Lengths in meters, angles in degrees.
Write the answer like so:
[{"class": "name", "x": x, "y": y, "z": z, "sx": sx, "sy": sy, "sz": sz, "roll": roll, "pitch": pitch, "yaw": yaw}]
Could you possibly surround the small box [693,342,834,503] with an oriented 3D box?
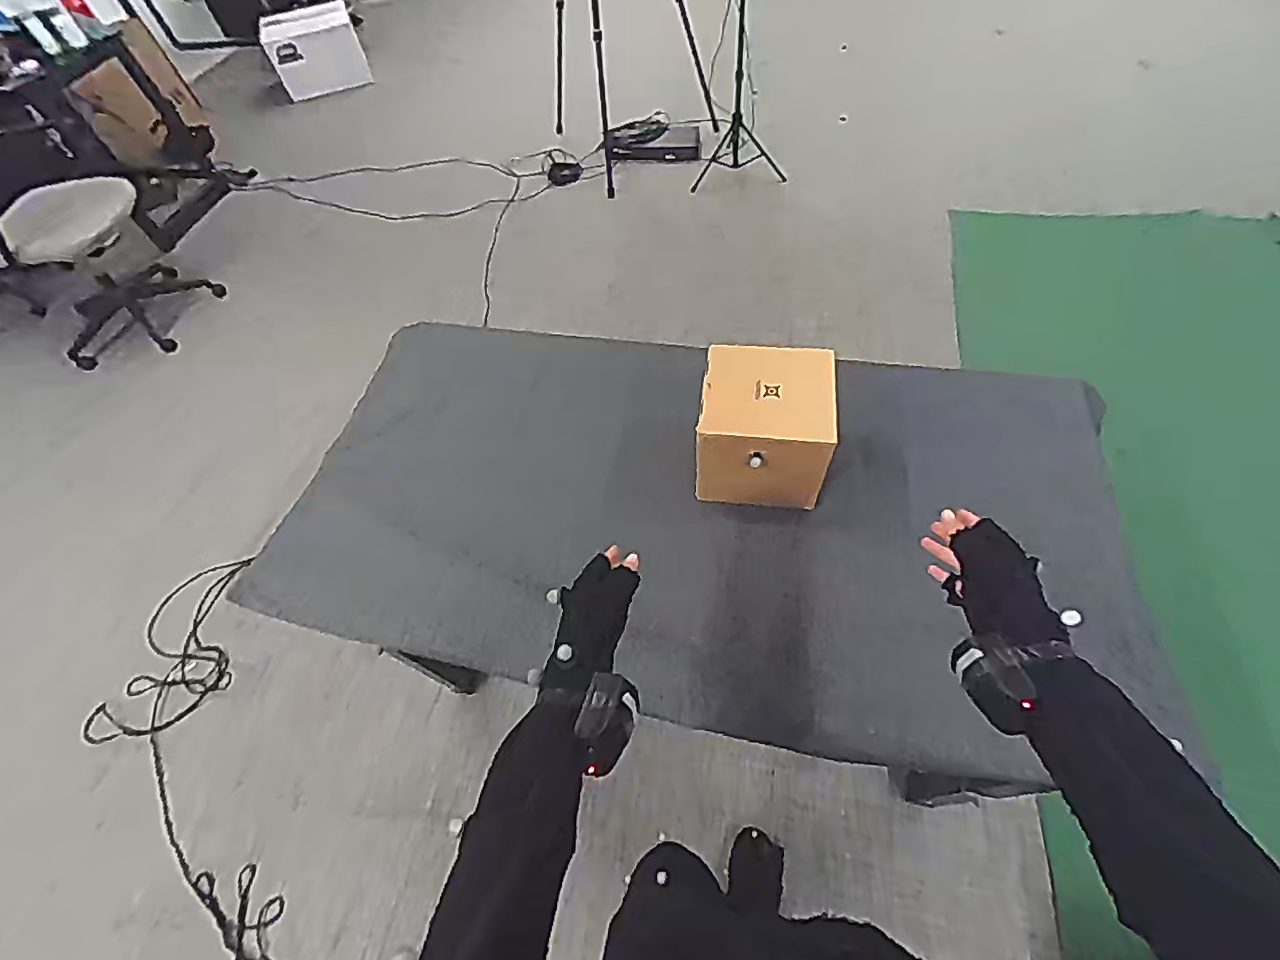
[{"class": "small box", "x": 0.175, "y": -0.079, "z": 0.786, "sx": 0.179, "sy": 0.176, "sz": 0.168, "roll": 4, "pitch": 58, "yaw": 11}]
